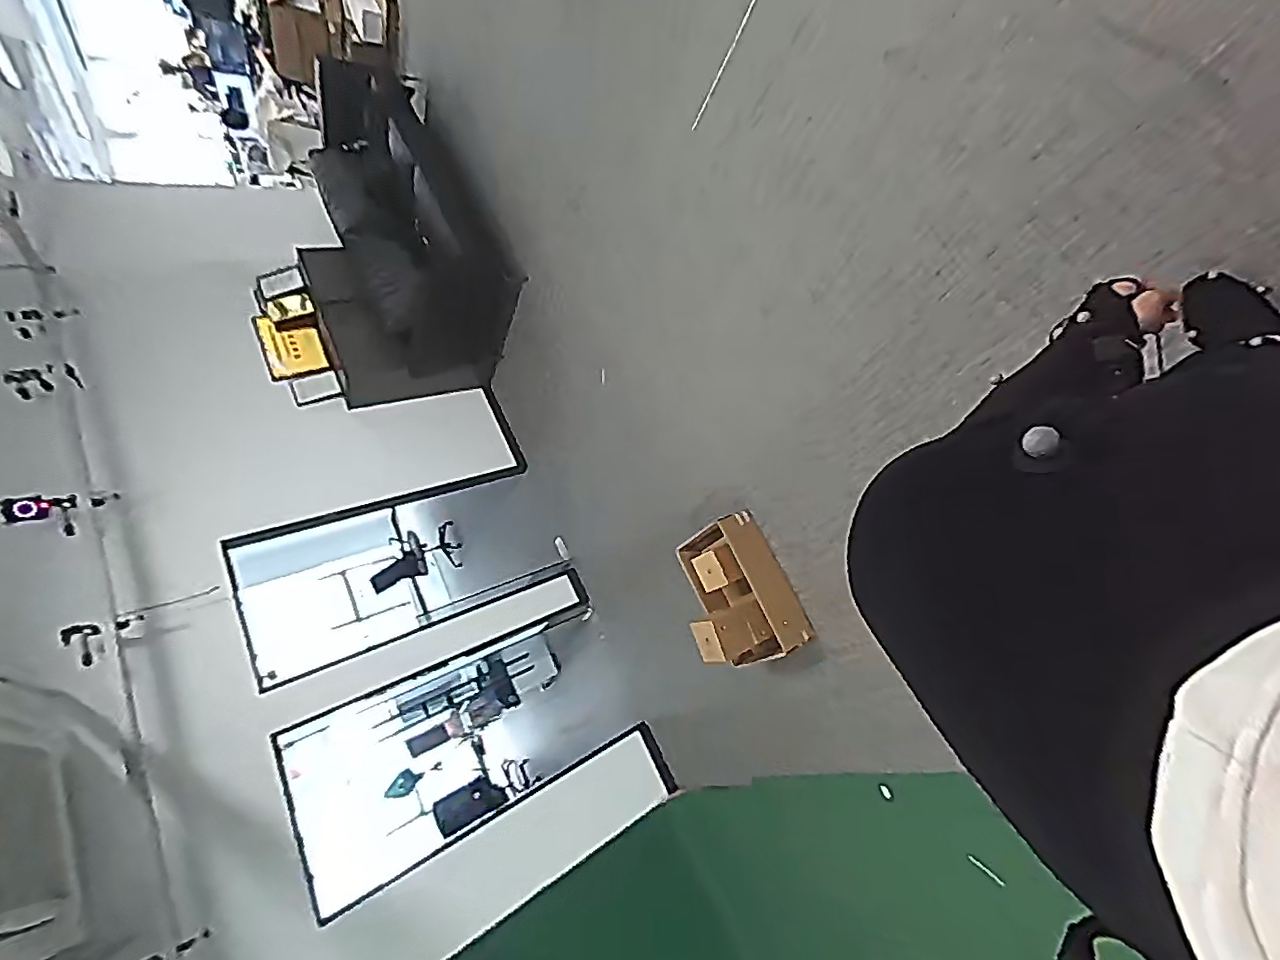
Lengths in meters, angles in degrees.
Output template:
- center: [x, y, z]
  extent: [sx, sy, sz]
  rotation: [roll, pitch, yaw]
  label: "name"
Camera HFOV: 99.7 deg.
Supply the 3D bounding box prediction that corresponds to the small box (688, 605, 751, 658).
- center: [0.339, 0.638, 2.295]
  extent: [0.168, 0.176, 0.179]
  rotation: [-31, 78, 57]
  label: "small box"
